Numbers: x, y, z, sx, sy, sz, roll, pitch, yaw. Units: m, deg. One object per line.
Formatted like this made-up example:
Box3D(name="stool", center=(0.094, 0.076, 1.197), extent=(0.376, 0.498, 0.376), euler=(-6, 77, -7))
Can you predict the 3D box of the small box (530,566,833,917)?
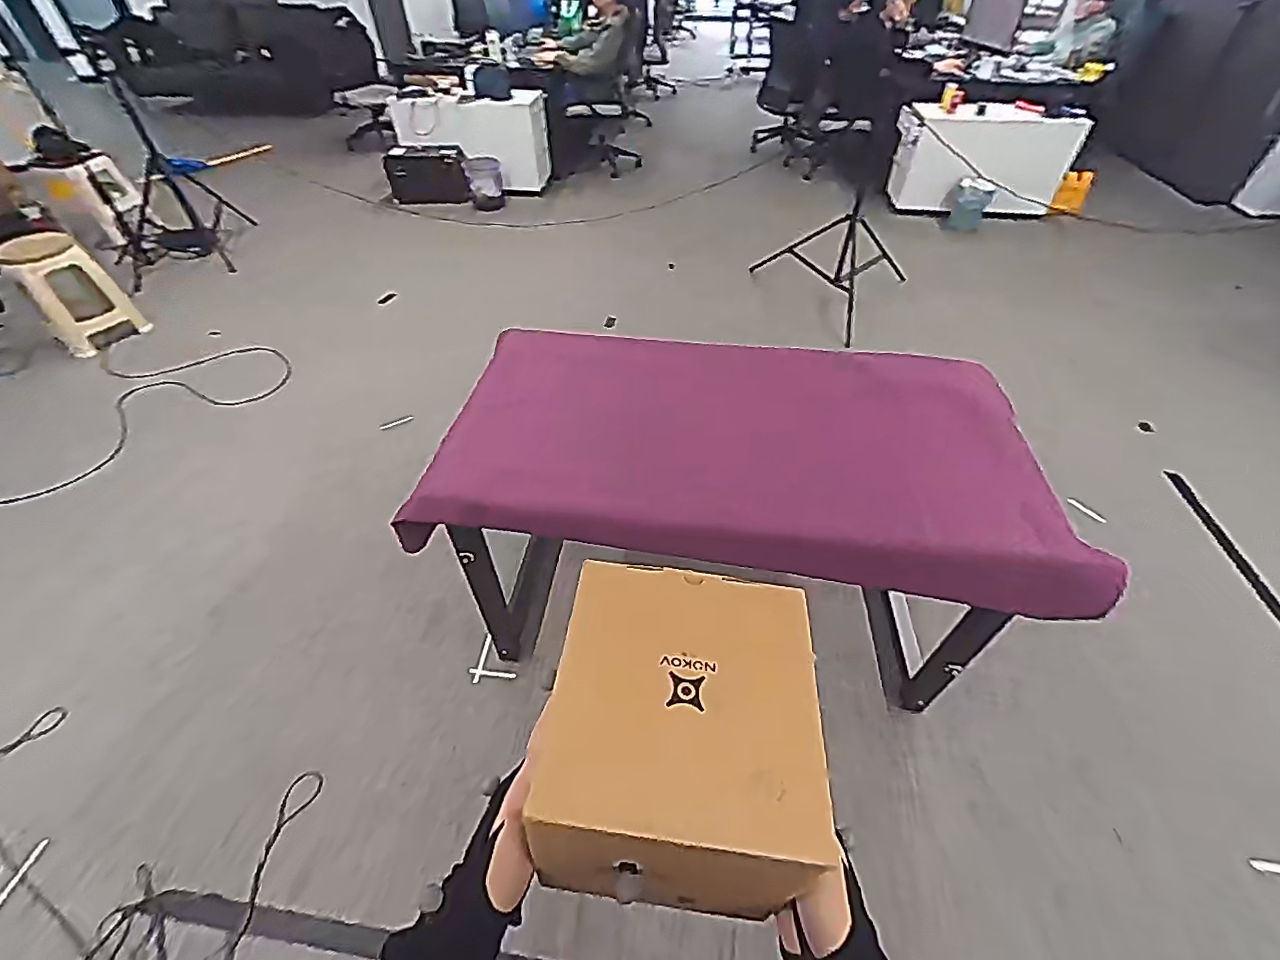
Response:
Box3D(name="small box", center=(0.027, 0.192, 0.399), extent=(0.168, 0.176, 0.179), euler=(7, 42, 2))
